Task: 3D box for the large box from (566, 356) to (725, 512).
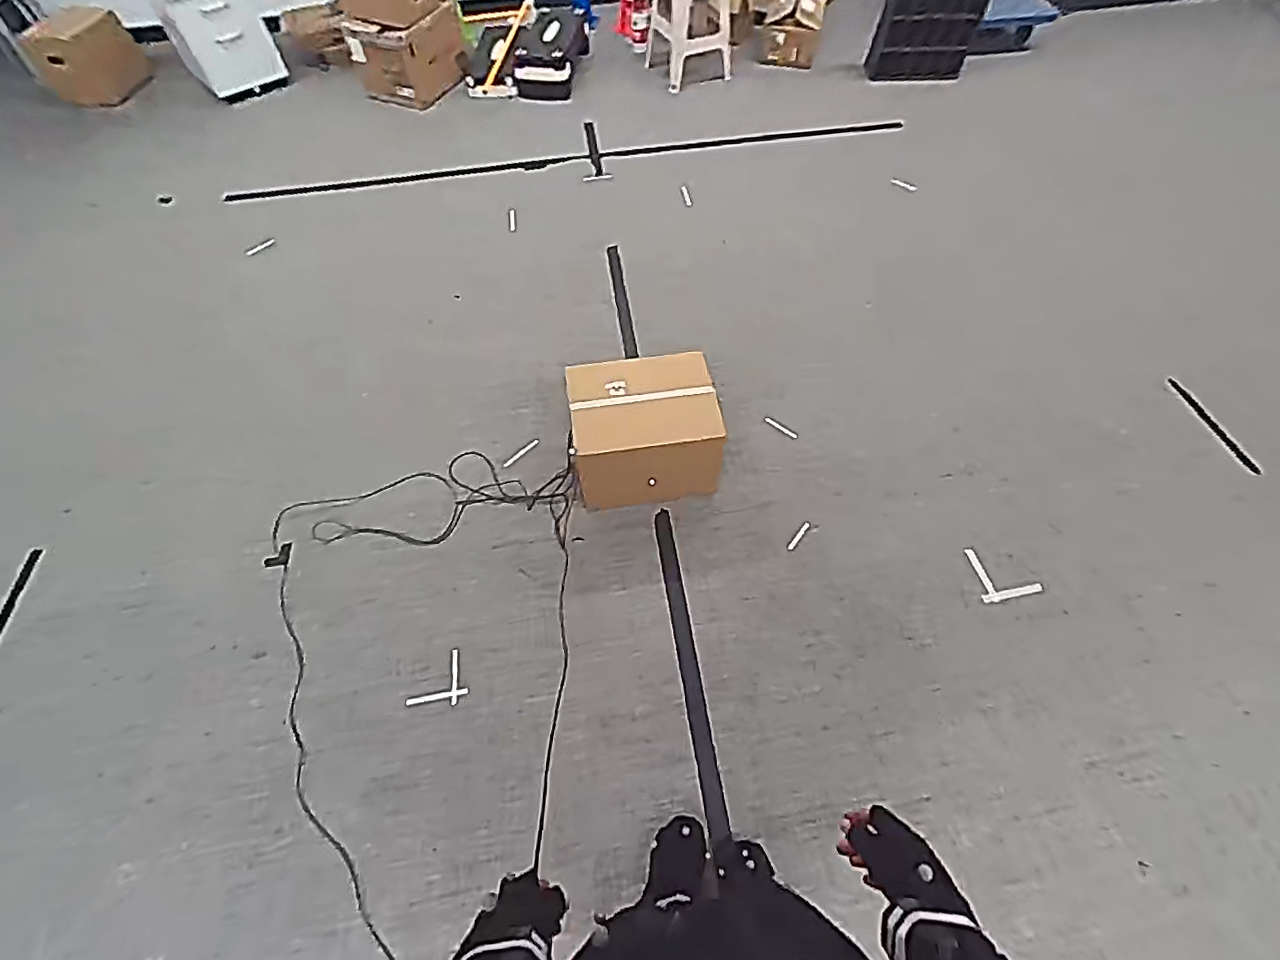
[{"bbox_3d":[0.012,-0.130,1.619,0.408,0.320,0.320,-8,59,-3],"label":"large box"}]
